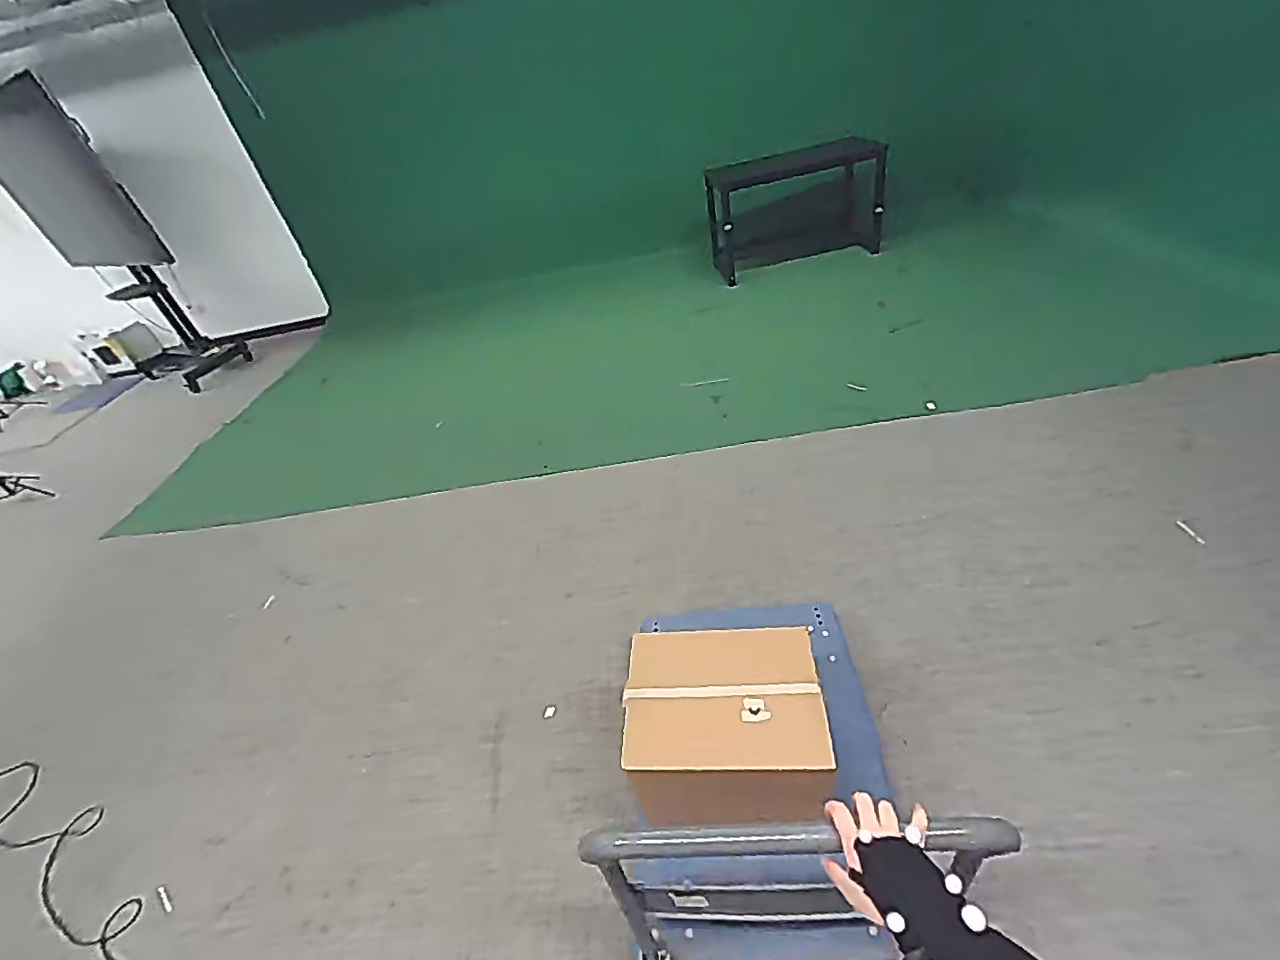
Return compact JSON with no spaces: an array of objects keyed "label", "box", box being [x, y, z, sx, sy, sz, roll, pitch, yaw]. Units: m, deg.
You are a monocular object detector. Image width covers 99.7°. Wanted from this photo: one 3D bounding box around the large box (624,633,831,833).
[{"label":"large box","box":[0.192,0.579,1.240,0.408,0.320,0.320,-4,38,8]}]
